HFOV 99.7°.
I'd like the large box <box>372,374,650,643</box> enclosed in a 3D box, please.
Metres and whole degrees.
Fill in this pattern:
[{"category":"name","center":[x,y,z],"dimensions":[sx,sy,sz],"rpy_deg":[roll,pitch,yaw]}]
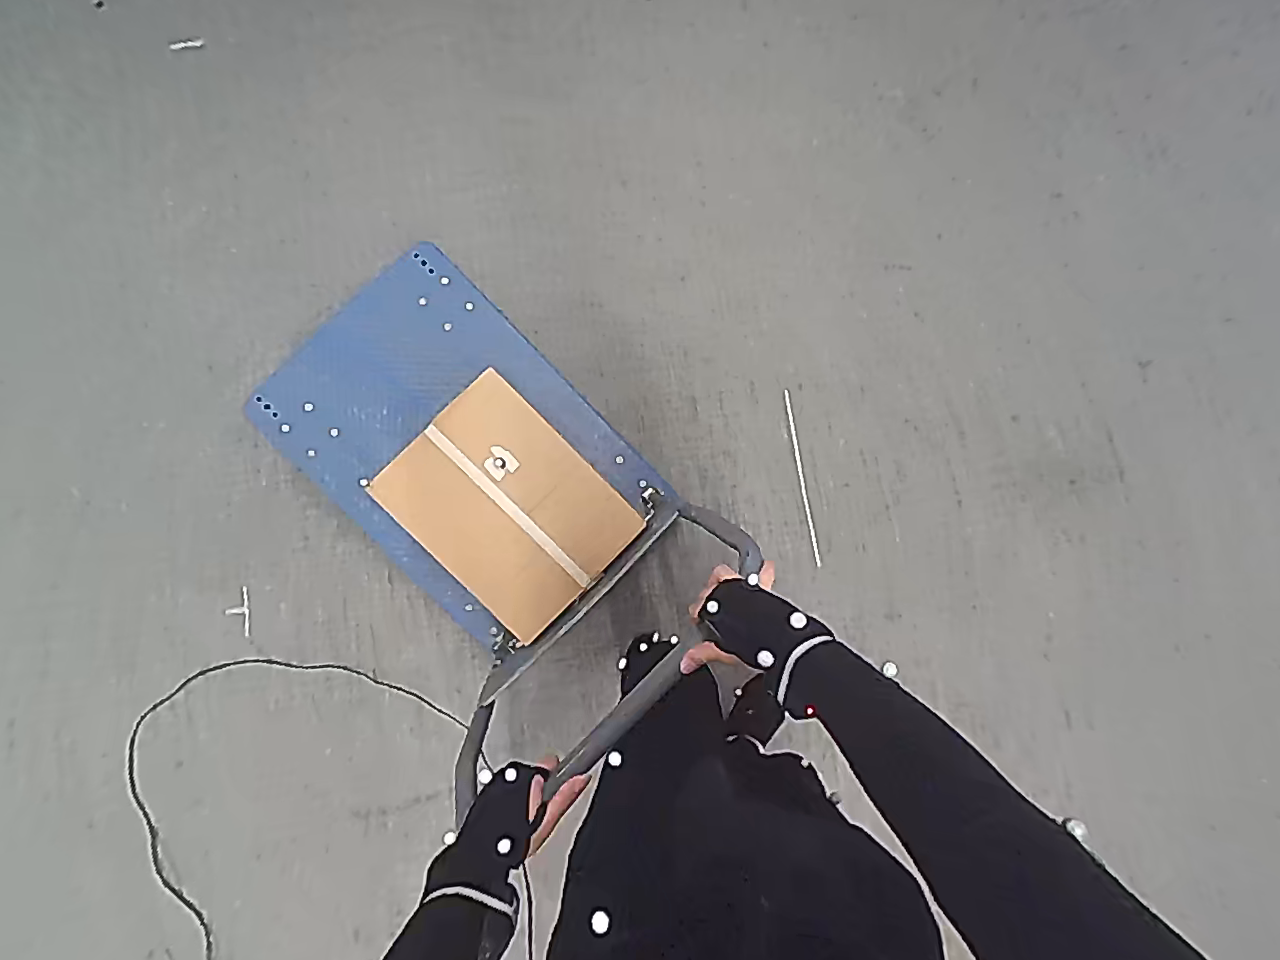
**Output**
[{"category":"large box","center":[-0.234,0.054,1.112],"dimensions":[0.408,0.320,0.320],"rpy_deg":[45,85,-2]}]
